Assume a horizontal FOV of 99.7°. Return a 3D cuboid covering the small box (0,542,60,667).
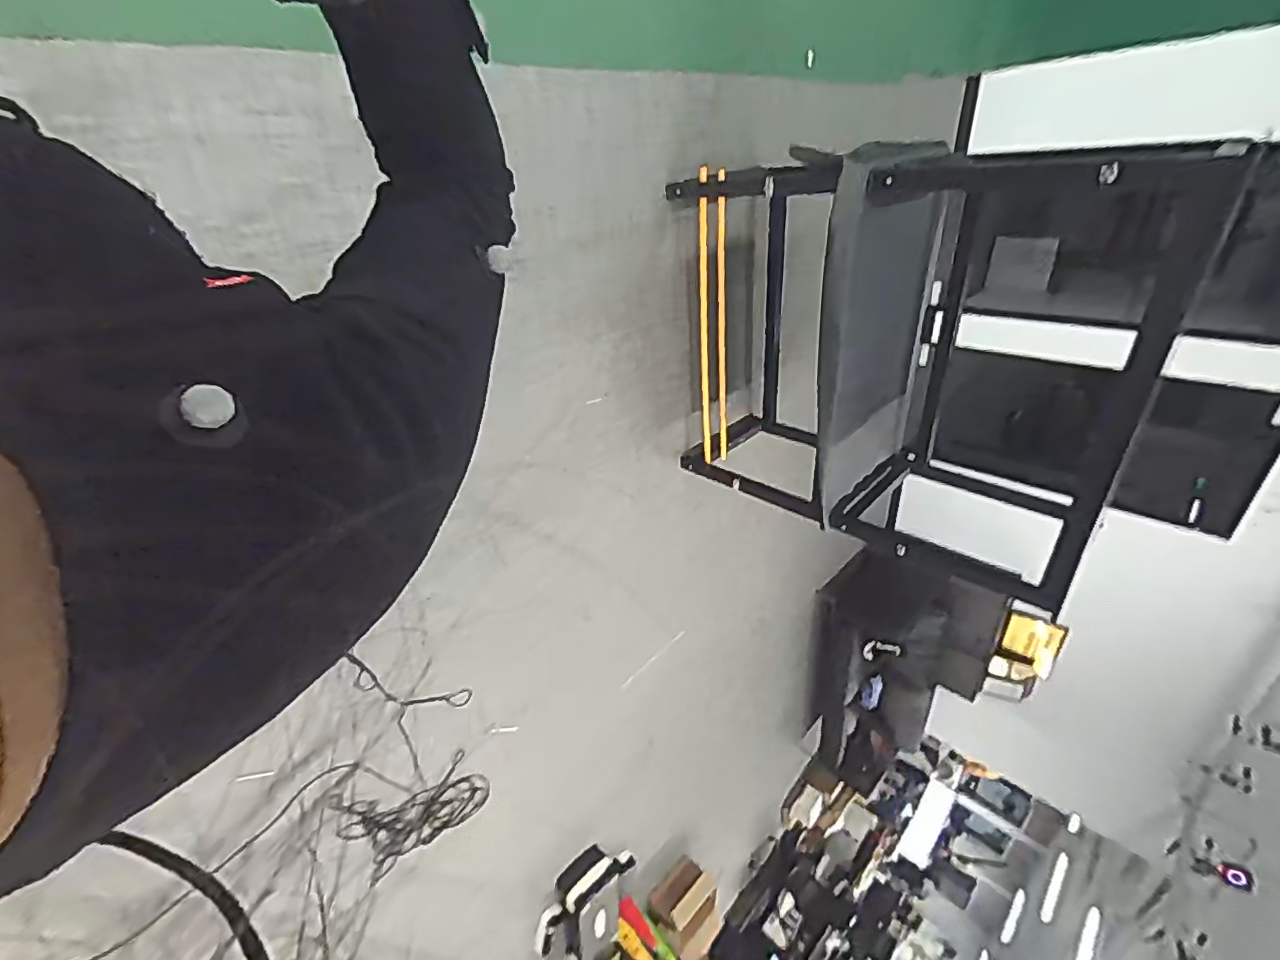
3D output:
[{"bbox_3d":[-1.219,0.244,0.981,0.179,0.176,0.168,-34,132,-33],"label":"small box"}]
